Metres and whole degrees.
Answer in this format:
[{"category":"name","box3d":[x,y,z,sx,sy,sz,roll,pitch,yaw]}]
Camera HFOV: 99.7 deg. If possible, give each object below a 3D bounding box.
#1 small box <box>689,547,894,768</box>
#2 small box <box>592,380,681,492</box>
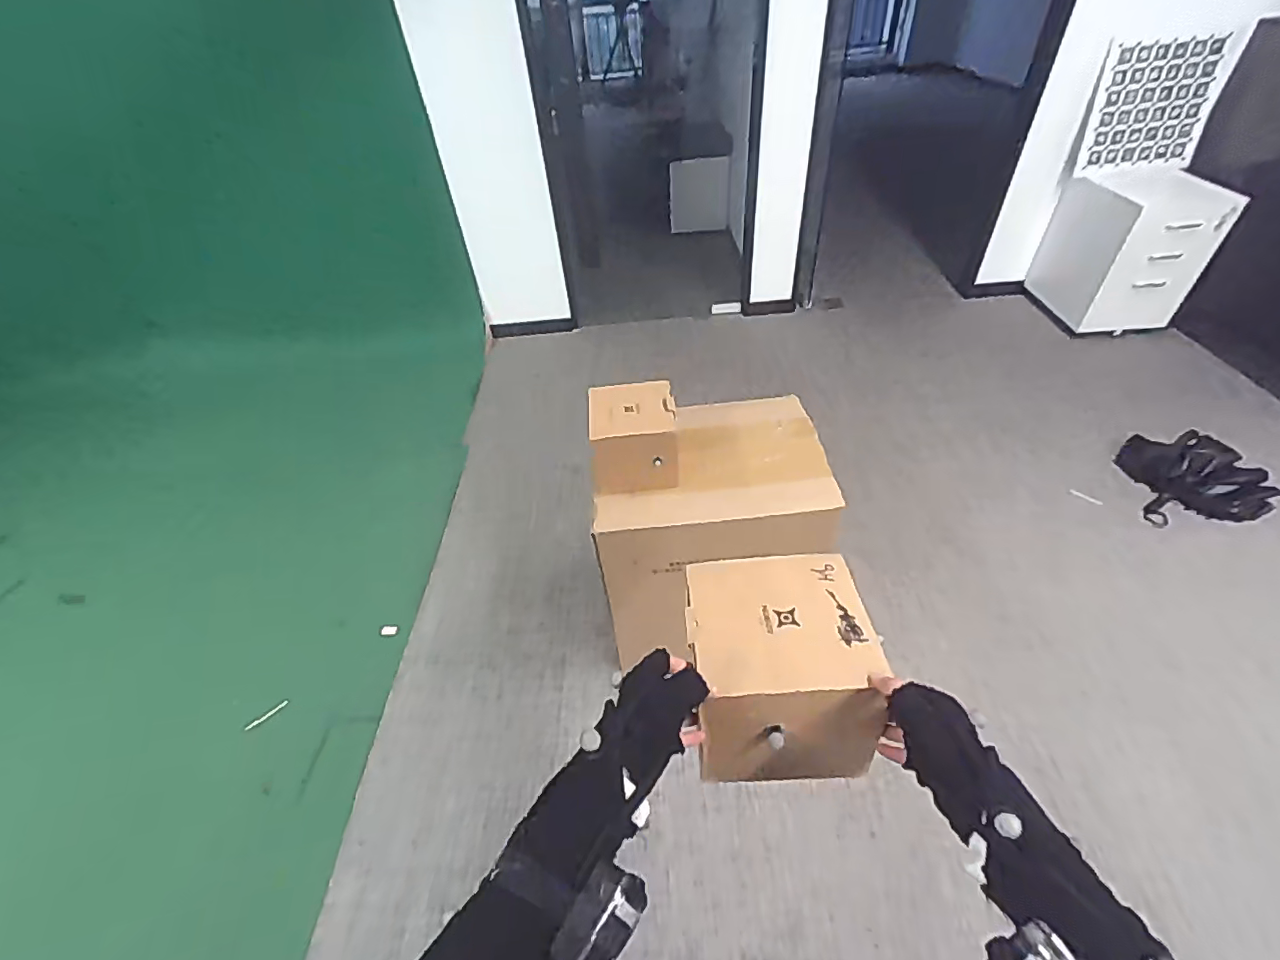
[{"category":"small box","box3d":[0.151,0.195,0.594,0.179,0.176,0.168,-5,37,3]},{"category":"small box","box3d":[-0.006,-0.093,1.175,0.179,0.176,0.168,-7,47,1]}]
